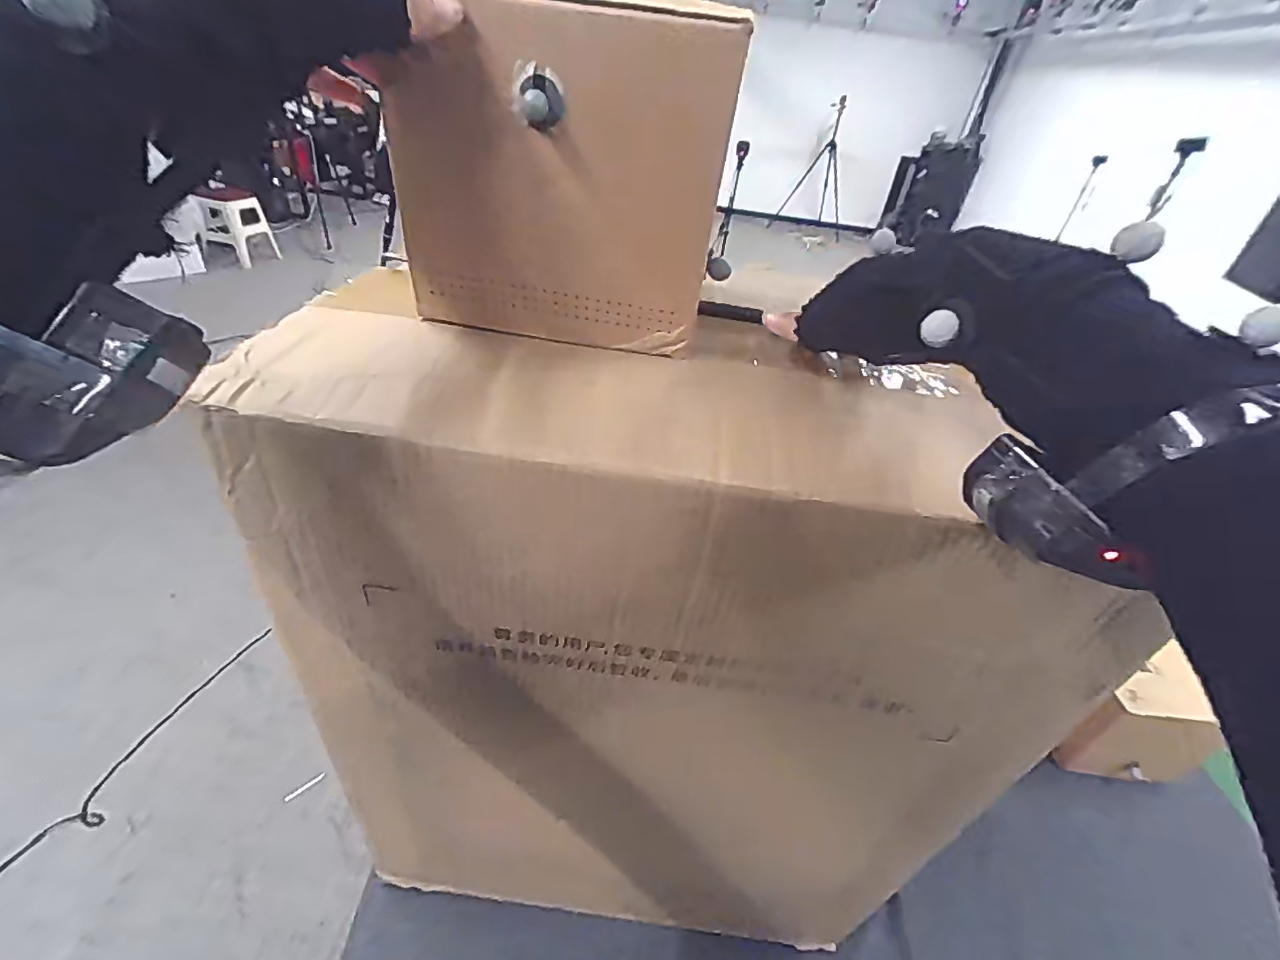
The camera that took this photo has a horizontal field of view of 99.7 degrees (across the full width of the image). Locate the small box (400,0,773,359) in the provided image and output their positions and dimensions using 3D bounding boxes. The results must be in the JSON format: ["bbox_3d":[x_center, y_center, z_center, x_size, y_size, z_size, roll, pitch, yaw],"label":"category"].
[{"bbox_3d":[-0.024,-0.198,0.352,0.179,0.176,0.168,11,43,1],"label":"small box"}]

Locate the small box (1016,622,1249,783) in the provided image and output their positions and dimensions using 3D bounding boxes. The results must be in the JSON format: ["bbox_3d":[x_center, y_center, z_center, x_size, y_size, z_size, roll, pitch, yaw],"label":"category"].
[{"bbox_3d":[0.755,0.353,0.856,0.179,0.176,0.168,8,36,-1],"label":"small box"}]
